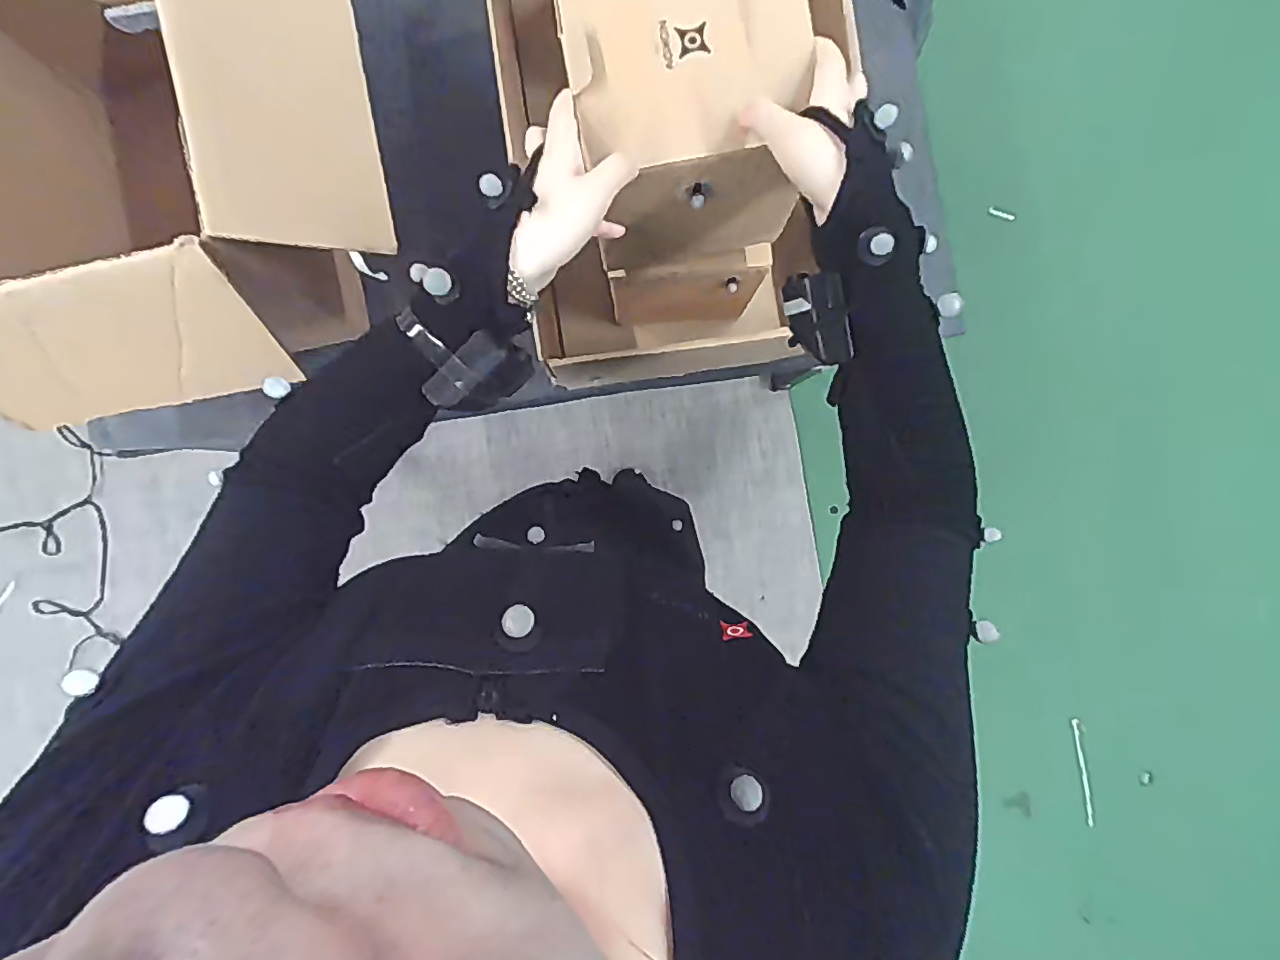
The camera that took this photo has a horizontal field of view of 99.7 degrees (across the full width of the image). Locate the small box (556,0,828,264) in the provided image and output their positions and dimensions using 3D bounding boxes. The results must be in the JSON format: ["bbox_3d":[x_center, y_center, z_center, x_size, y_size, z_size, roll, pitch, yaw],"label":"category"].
[{"bbox_3d":[0.037,-0.305,0.463,0.179,0.176,0.168,-10,90,0],"label":"small box"}]
